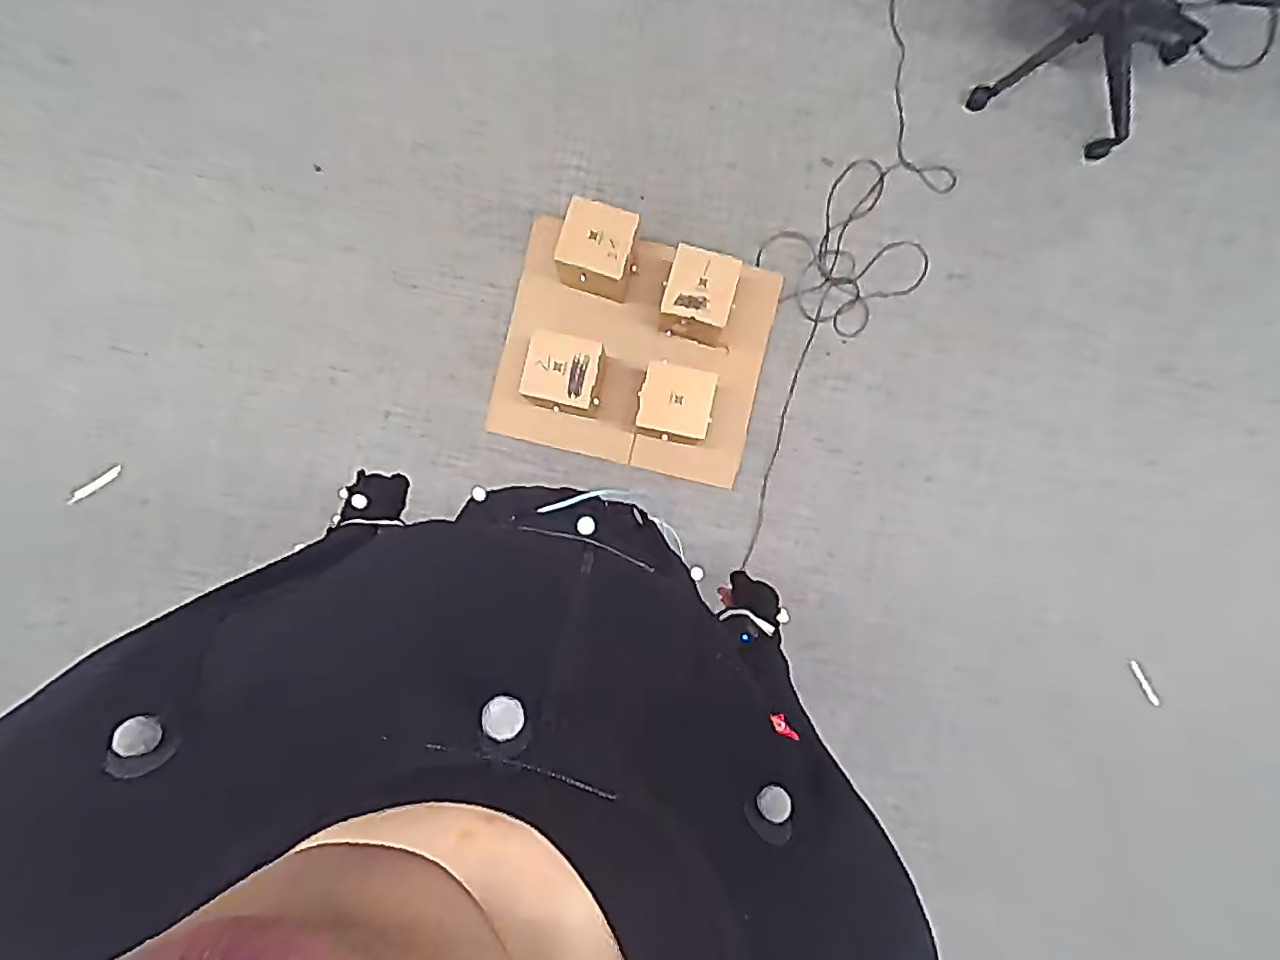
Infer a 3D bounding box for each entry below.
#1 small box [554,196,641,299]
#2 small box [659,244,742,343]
[{"bbox_3d":[-0.105,-0.590,1.397,0.179,0.176,0.168,18,89,-1],"label":"small box"},{"bbox_3d":[0.150,-0.473,1.403,0.168,0.176,0.179,16,88,1],"label":"small box"}]
